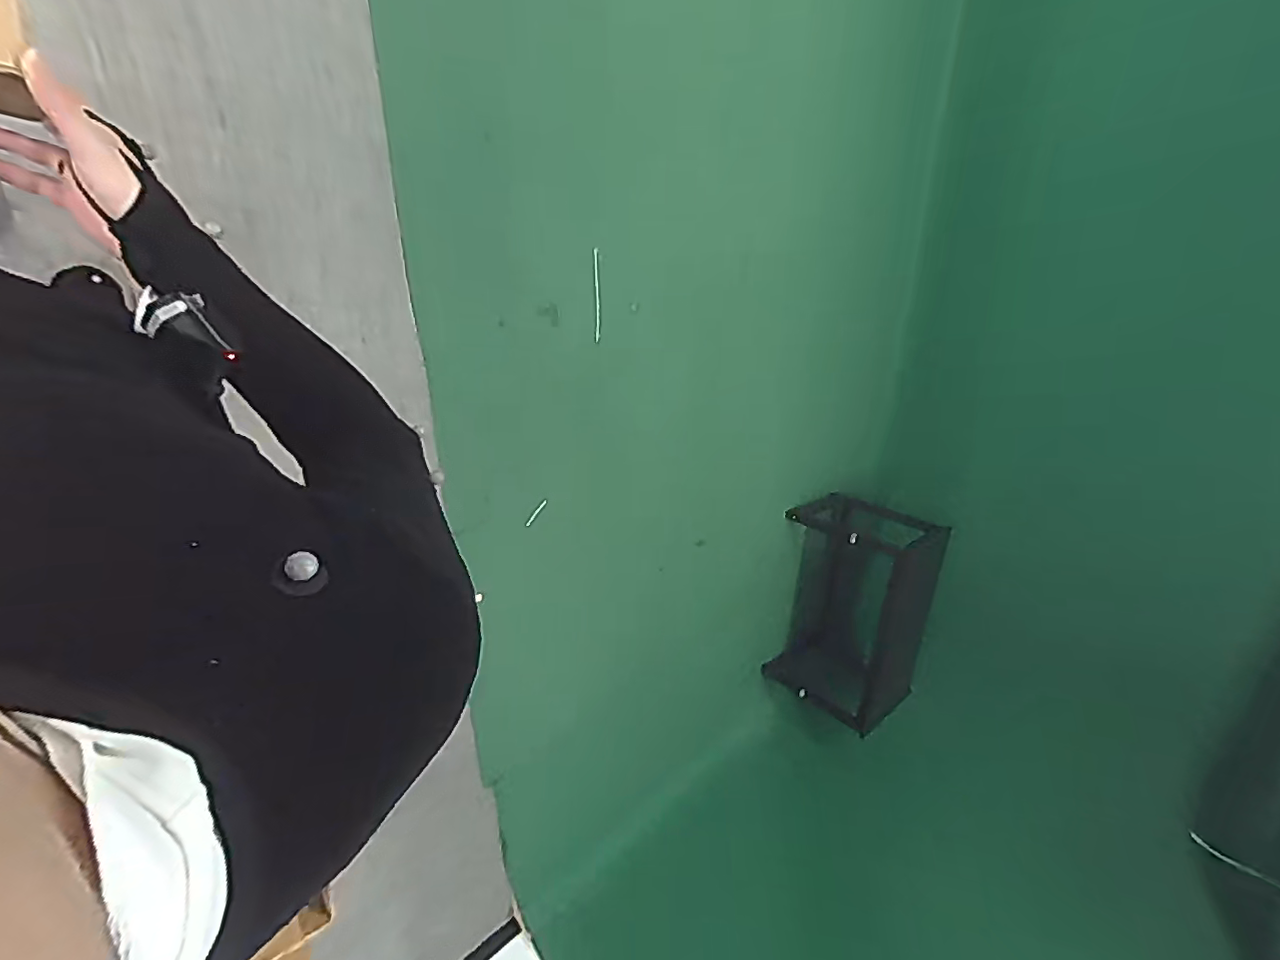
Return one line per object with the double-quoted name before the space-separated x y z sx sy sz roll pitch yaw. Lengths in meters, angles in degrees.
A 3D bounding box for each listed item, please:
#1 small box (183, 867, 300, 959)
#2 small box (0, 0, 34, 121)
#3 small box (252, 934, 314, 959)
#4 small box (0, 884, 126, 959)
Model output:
"small box" -0.788 0.939 1.083 0.168 0.176 0.179 -15 118 -41
"small box" -0.525 -0.358 0.345 0.168 0.176 0.179 -13 114 -45
"small box" -0.674 0.996 0.981 0.168 0.176 0.179 -13 117 -42
"small box" -1.093 0.928 1.018 0.168 0.176 0.179 -11 114 -42
